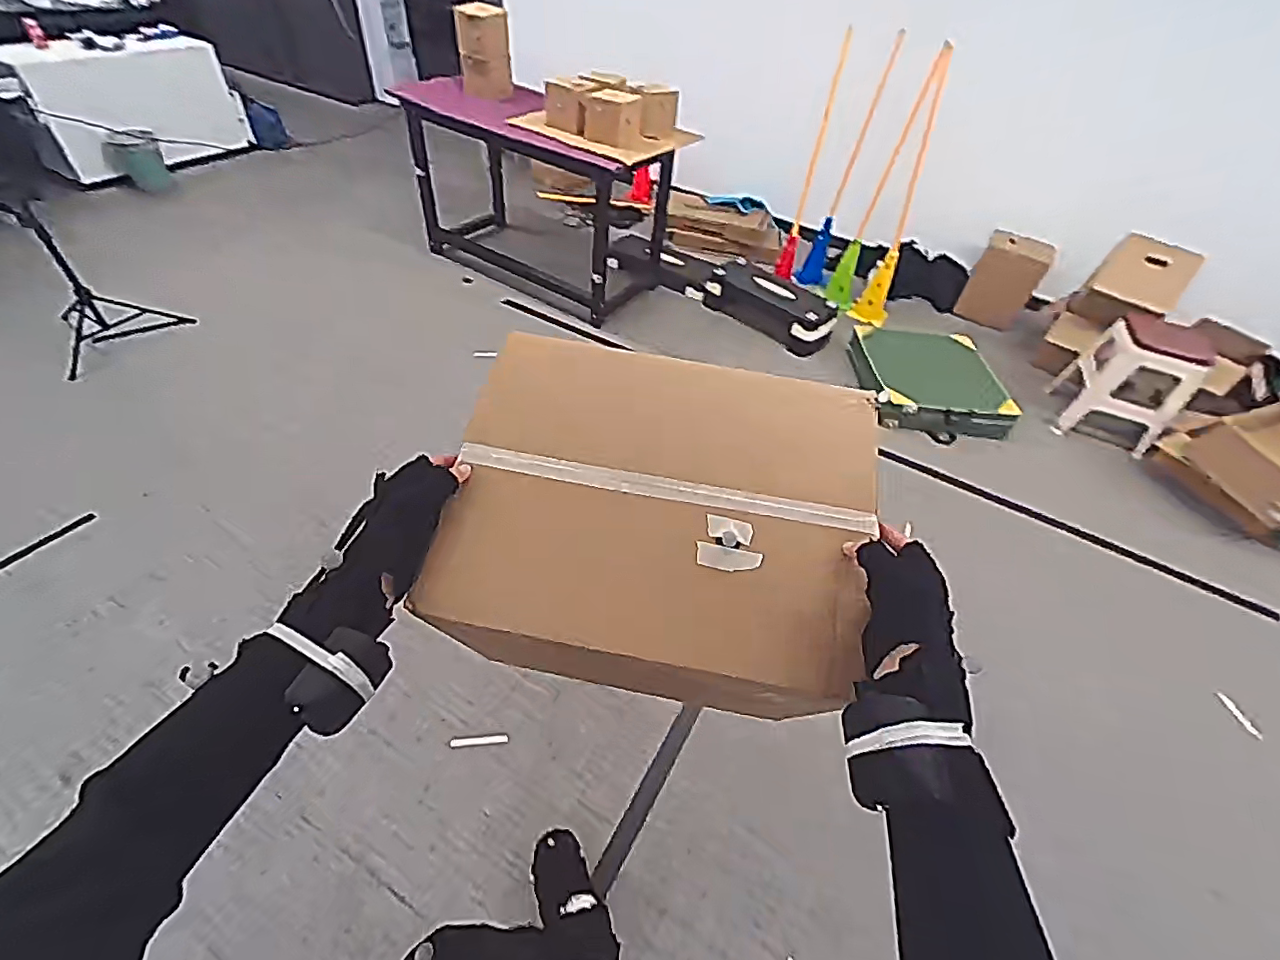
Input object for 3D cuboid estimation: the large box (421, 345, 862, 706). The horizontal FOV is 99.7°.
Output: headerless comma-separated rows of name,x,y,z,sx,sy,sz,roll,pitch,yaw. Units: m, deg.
large box,0.014,0.076,0.672,0.408,0.320,0.320,10,65,3
